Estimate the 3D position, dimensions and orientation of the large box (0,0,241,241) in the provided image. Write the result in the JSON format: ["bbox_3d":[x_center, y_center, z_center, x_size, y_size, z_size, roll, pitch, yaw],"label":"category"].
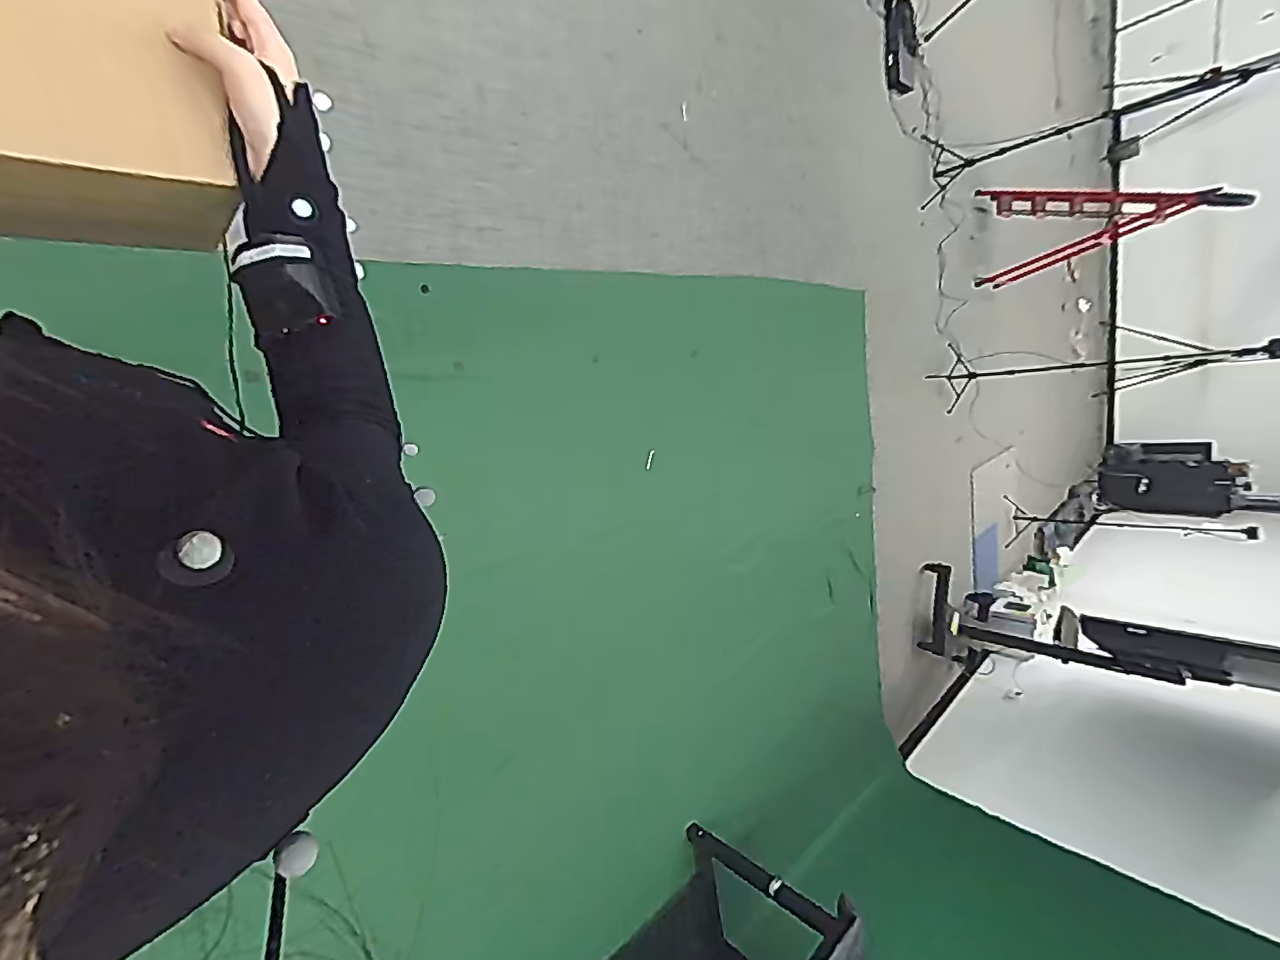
[{"bbox_3d":[-0.561,-0.362,0.374,0.408,0.320,0.320,-13,107,-38],"label":"large box"}]
